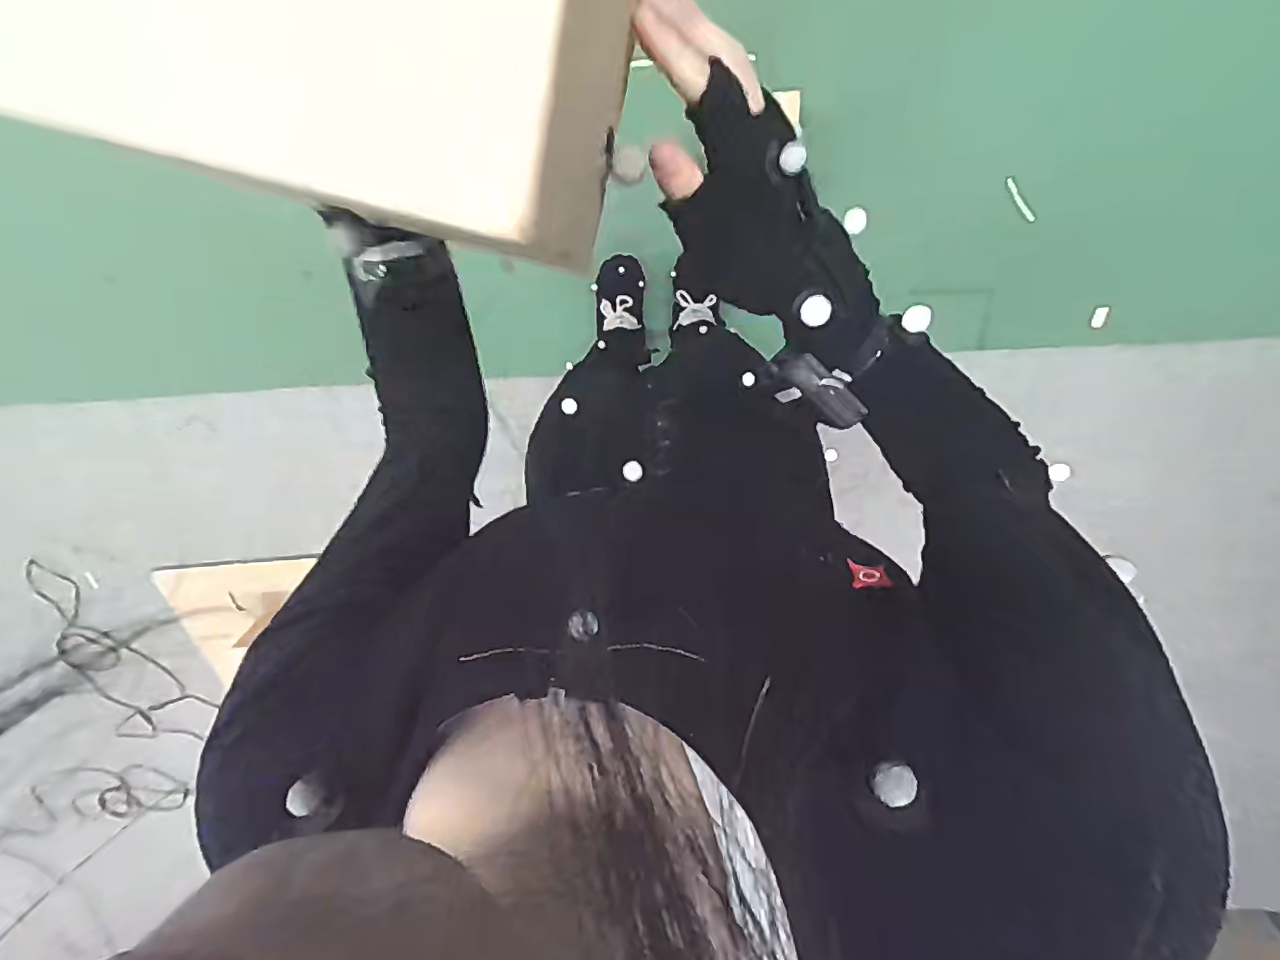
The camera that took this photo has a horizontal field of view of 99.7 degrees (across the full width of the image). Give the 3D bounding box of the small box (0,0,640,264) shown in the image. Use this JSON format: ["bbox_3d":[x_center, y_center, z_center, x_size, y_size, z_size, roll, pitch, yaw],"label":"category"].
[{"bbox_3d":[-0.082,-0.172,0.164,0.168,0.176,0.179,9,112,-6],"label":"small box"}]

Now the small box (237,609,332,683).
[{"bbox_3d":[-1.180,0.552,1.811,0.179,0.176,0.168,-7,117,4],"label":"small box"}]

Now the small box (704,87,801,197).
[{"bbox_3d":[0.223,-0.688,1.113,0.168,0.176,0.179,-2,117,2],"label":"small box"}]
